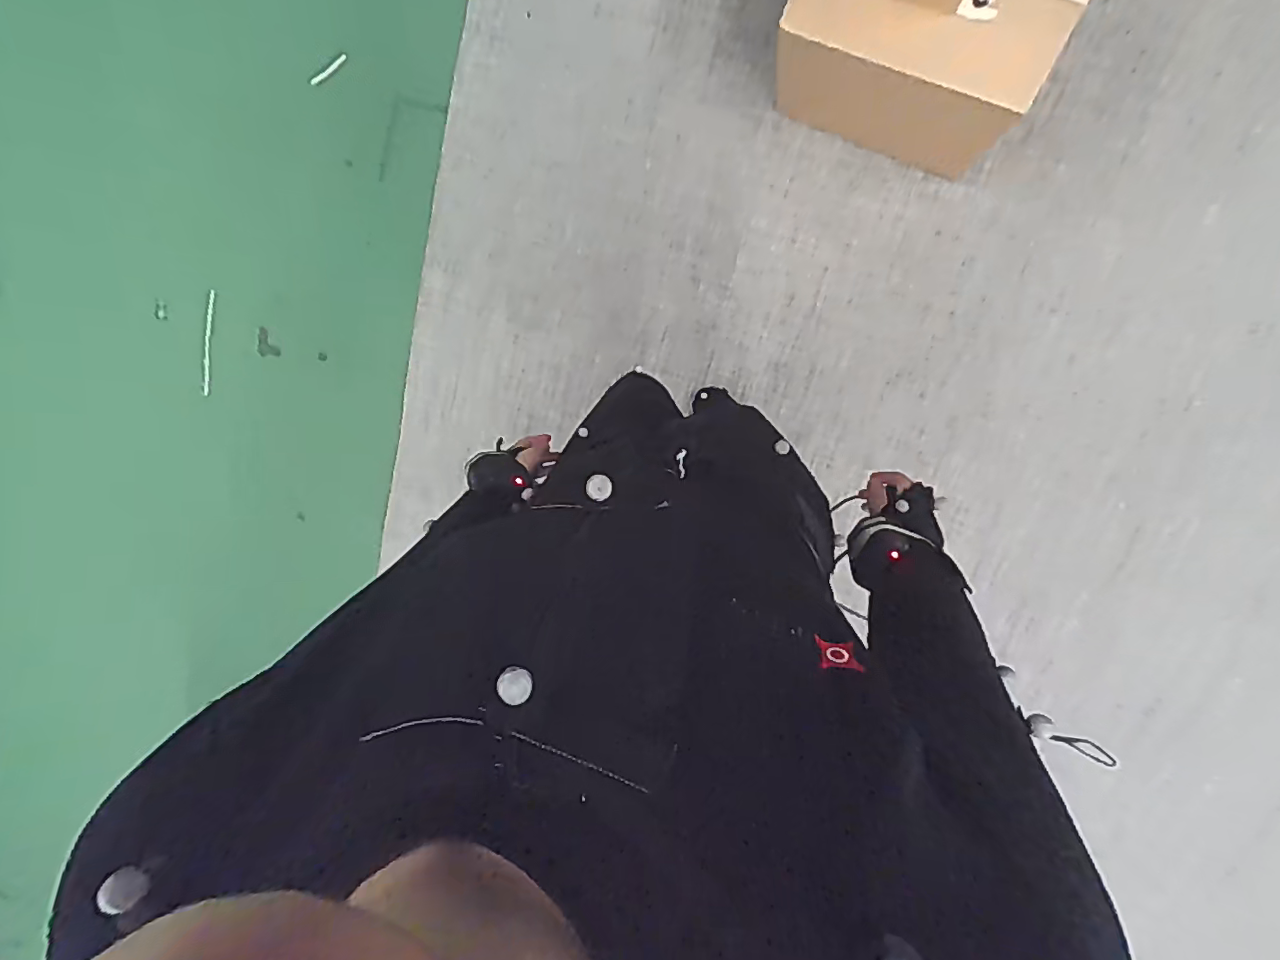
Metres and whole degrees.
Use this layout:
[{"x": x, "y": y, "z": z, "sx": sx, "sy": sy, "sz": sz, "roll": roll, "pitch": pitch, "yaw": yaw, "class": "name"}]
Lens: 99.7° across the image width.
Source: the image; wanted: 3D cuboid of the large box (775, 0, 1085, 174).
[{"x": 0.484, "y": -0.795, "z": 0.932, "sx": 0.408, "sy": 0.320, "sz": 0.320, "roll": 24, "pitch": 107, "yaw": 6, "class": "large box"}]
